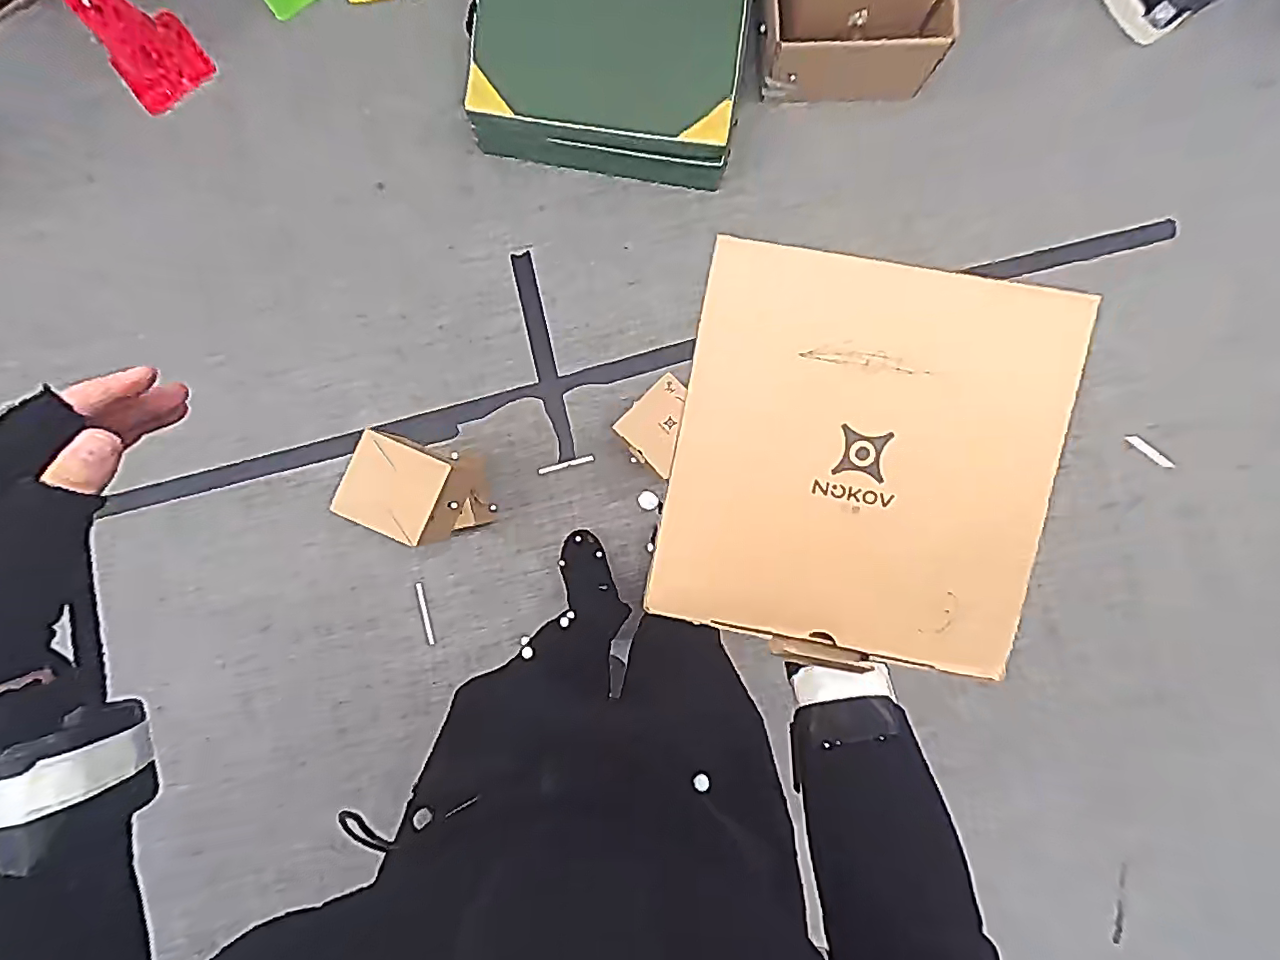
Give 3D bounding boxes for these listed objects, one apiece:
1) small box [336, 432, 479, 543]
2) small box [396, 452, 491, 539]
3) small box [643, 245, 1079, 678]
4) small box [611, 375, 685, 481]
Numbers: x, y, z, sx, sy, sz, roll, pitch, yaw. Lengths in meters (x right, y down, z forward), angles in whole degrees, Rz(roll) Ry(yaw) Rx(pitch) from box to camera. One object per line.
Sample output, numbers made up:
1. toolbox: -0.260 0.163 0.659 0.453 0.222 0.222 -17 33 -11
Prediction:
1. small box: -0.453 0.017 1.070 0.179 0.176 0.168 23 88 1
2. small box: -0.451 0.035 1.238 0.179 0.176 0.168 -11 88 0
3. small box: 0.103 -0.013 0.329 0.168 0.176 0.179 12 94 3
4. small box: 0.054 -0.111 1.247 0.179 0.176 0.168 -44 91 -1
